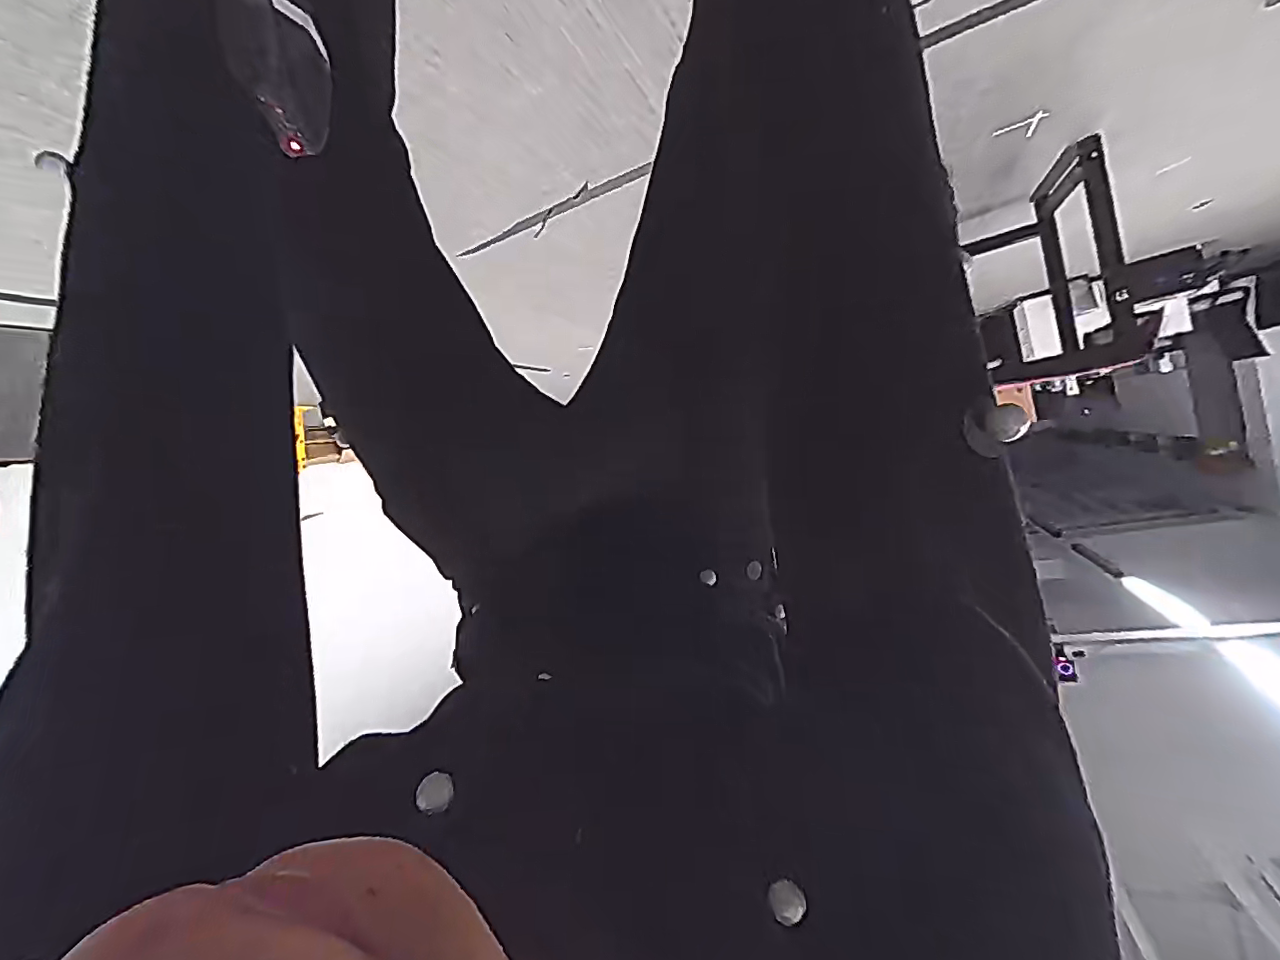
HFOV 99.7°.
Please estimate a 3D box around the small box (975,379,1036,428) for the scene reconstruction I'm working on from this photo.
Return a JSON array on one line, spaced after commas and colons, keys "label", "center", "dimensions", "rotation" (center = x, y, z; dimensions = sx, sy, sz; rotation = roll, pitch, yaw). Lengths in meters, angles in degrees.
[{"label": "small box", "center": [1.503, -0.315, 2.234], "dimensions": [0.168, 0.176, 0.179], "rotation": [-11, -178, 24]}]
